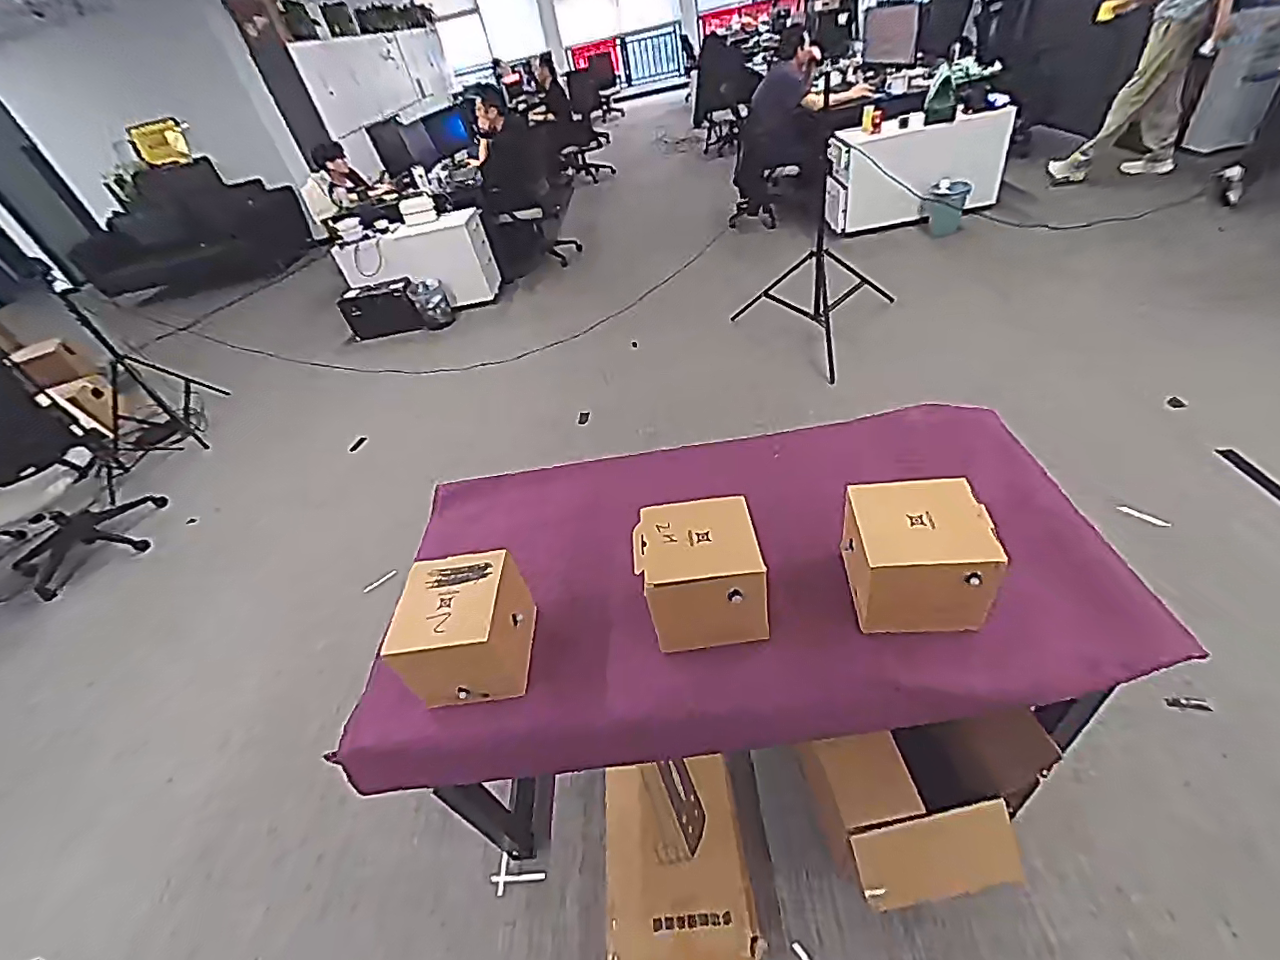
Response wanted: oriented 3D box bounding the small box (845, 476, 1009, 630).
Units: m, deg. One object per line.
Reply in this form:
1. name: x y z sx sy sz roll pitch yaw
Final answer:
1. small box: 0.419 0.116 0.827 0.179 0.176 0.168 -5 41 10

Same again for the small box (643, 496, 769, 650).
1. small box: 0.105 0.151 0.873 0.179 0.176 0.168 -10 38 5
